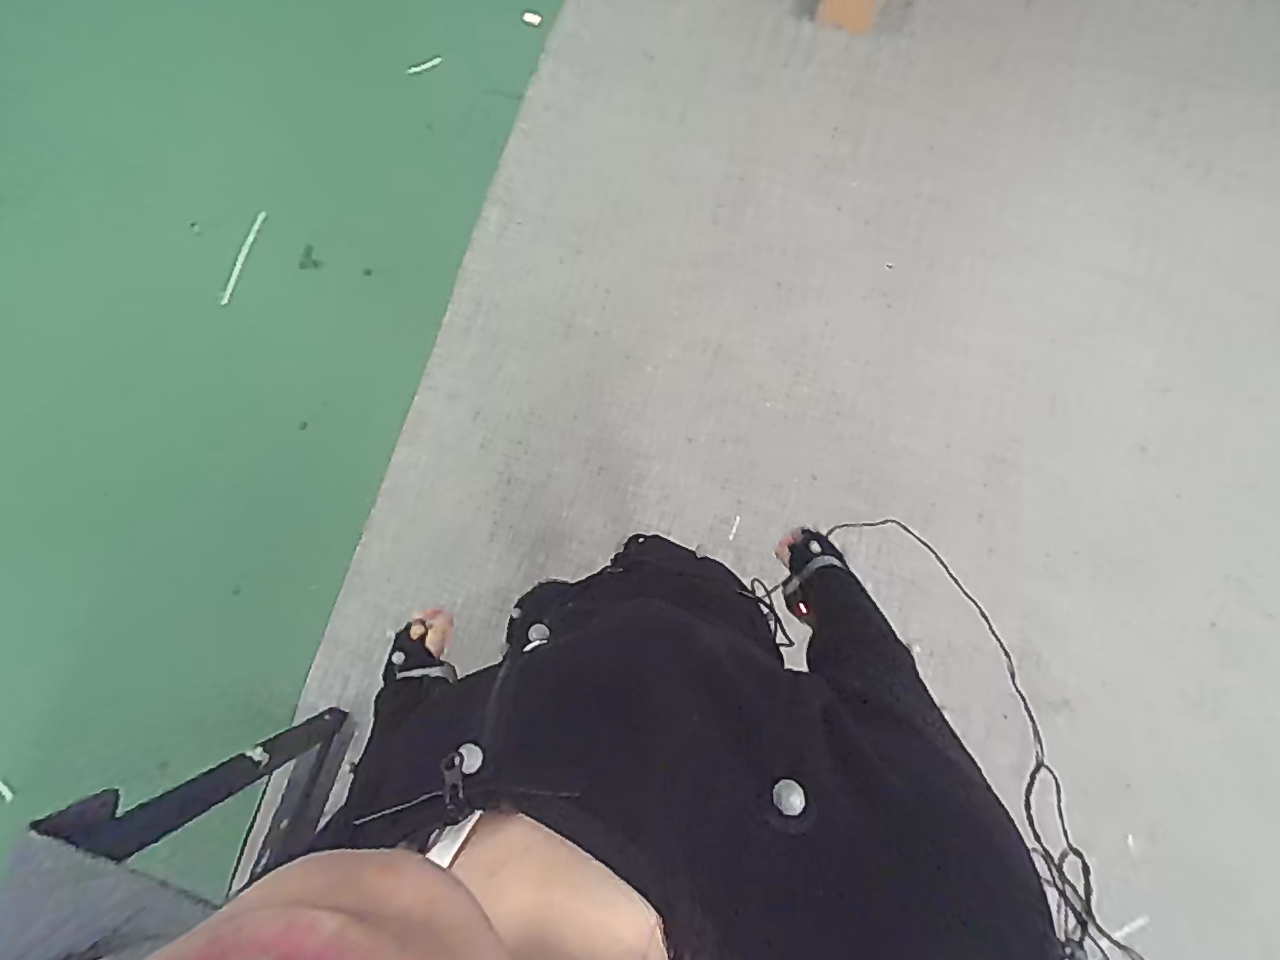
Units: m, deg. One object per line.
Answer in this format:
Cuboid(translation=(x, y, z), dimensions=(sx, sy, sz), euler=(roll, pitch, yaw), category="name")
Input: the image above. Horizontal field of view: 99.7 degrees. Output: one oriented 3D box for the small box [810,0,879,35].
Cuboid(translation=(0.632, -1.486, 1.618), dimensions=(0.179, 0.176, 0.168), euler=(13, 83, 3), category="small box")
